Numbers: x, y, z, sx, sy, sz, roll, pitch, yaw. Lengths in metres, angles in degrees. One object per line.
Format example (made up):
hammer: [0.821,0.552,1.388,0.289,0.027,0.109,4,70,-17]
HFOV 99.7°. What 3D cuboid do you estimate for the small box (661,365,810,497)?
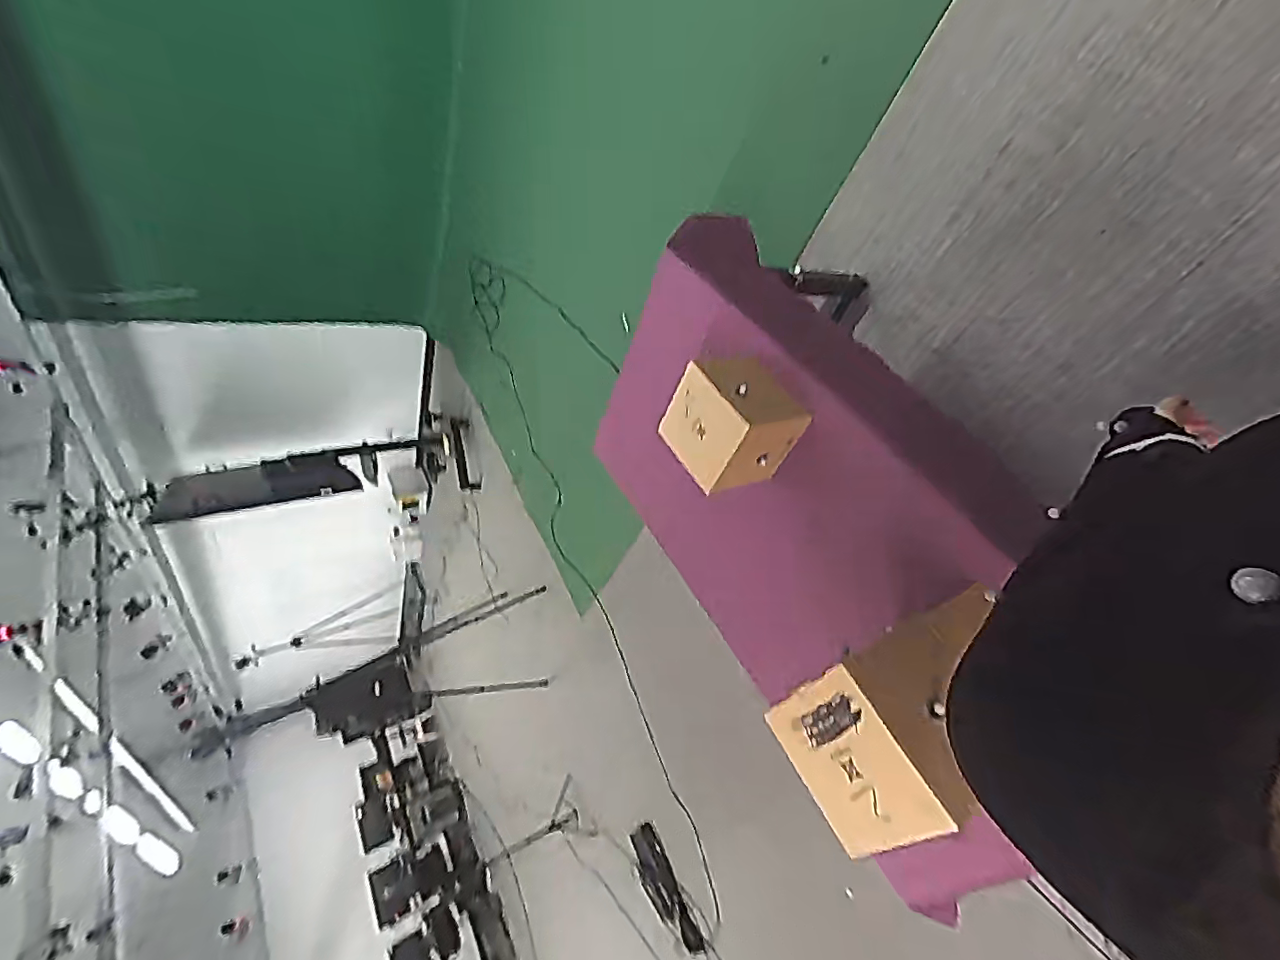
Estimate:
small box: [0.174,-0.098,0.988,0.179,0.176,0.168,55,138,29]

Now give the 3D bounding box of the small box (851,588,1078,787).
small box: [0.437,0.275,0.735,0.168,0.176,0.179,55,138,30]
